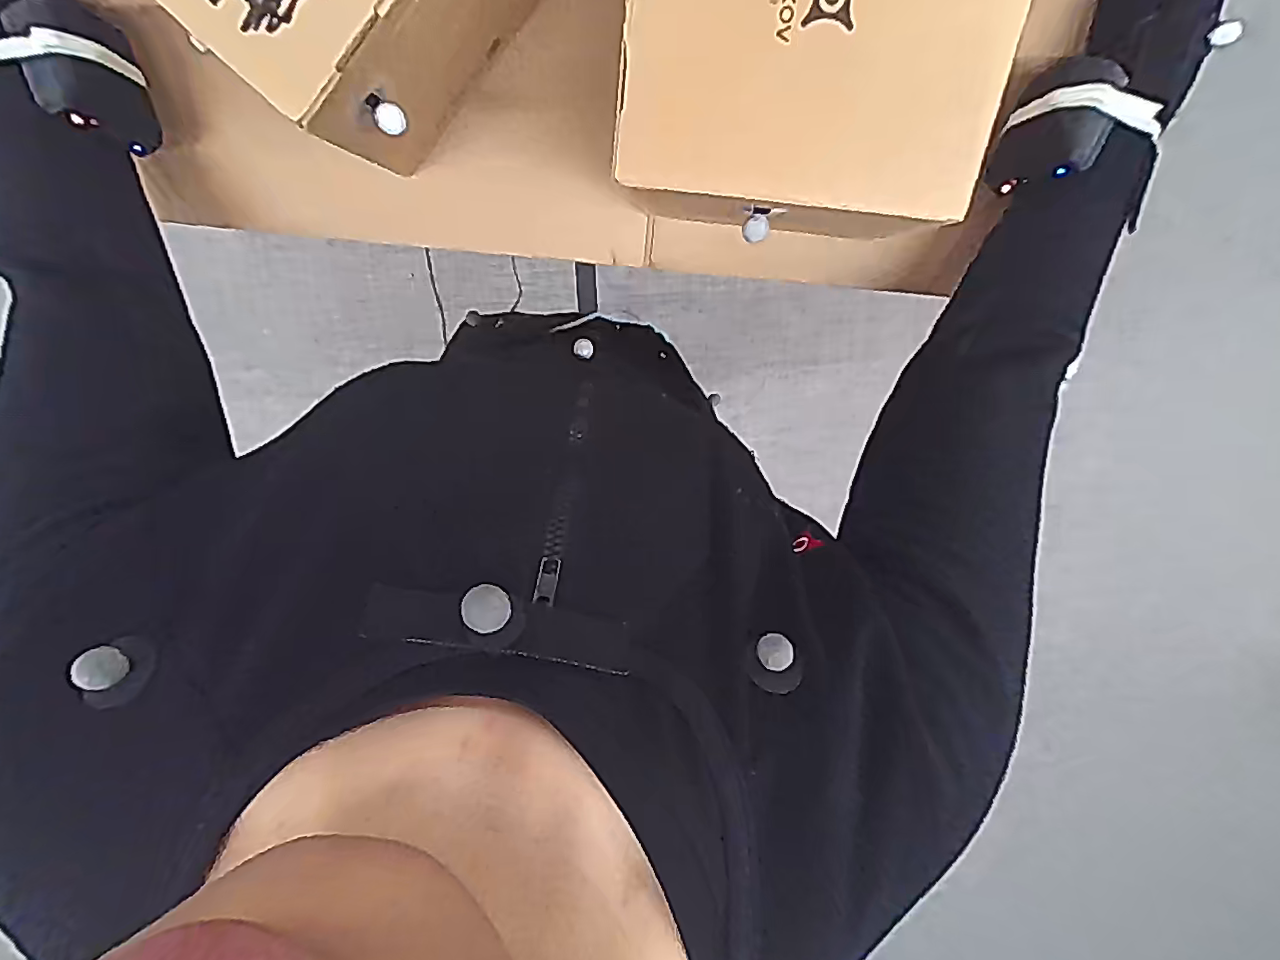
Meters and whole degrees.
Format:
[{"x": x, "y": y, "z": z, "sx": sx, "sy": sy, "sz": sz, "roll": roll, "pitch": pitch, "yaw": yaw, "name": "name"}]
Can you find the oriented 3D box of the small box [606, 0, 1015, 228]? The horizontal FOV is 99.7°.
[{"x": 0.088, "y": -0.247, "z": 0.314, "sx": 0.179, "sy": 0.176, "sz": 0.168, "roll": 10, "pitch": 112, "yaw": 6, "name": "small box"}]
